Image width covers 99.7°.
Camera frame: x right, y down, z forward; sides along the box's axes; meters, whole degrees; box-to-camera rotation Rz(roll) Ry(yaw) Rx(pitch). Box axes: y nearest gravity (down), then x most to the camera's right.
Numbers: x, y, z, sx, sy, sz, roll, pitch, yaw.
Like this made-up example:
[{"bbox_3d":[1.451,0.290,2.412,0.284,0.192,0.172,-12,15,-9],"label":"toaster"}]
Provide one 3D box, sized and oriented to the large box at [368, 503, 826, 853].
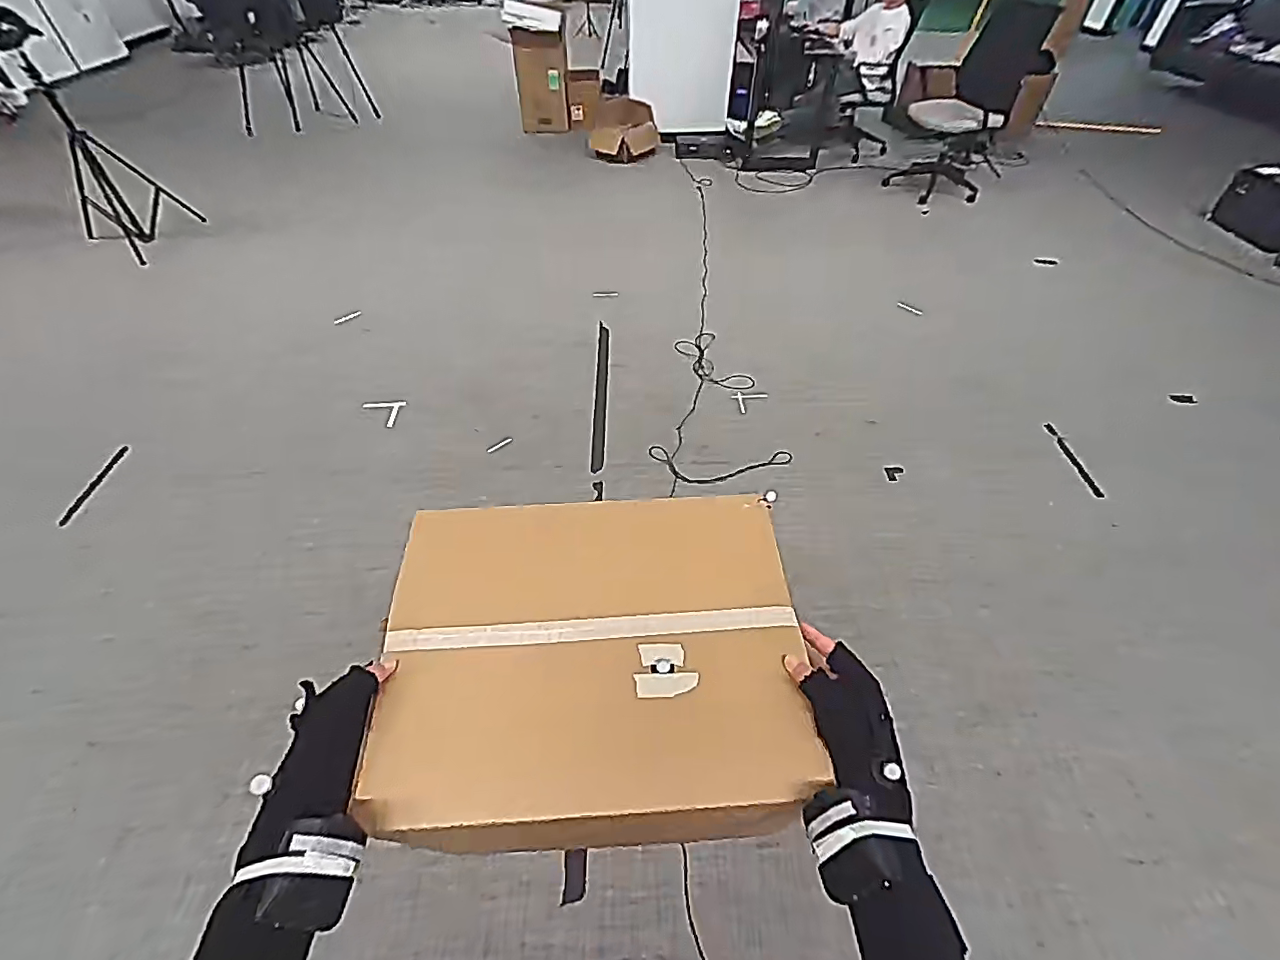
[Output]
[{"bbox_3d":[-0.045,0.249,0.669,0.408,0.320,0.320,-2,53,-2],"label":"large box"}]
